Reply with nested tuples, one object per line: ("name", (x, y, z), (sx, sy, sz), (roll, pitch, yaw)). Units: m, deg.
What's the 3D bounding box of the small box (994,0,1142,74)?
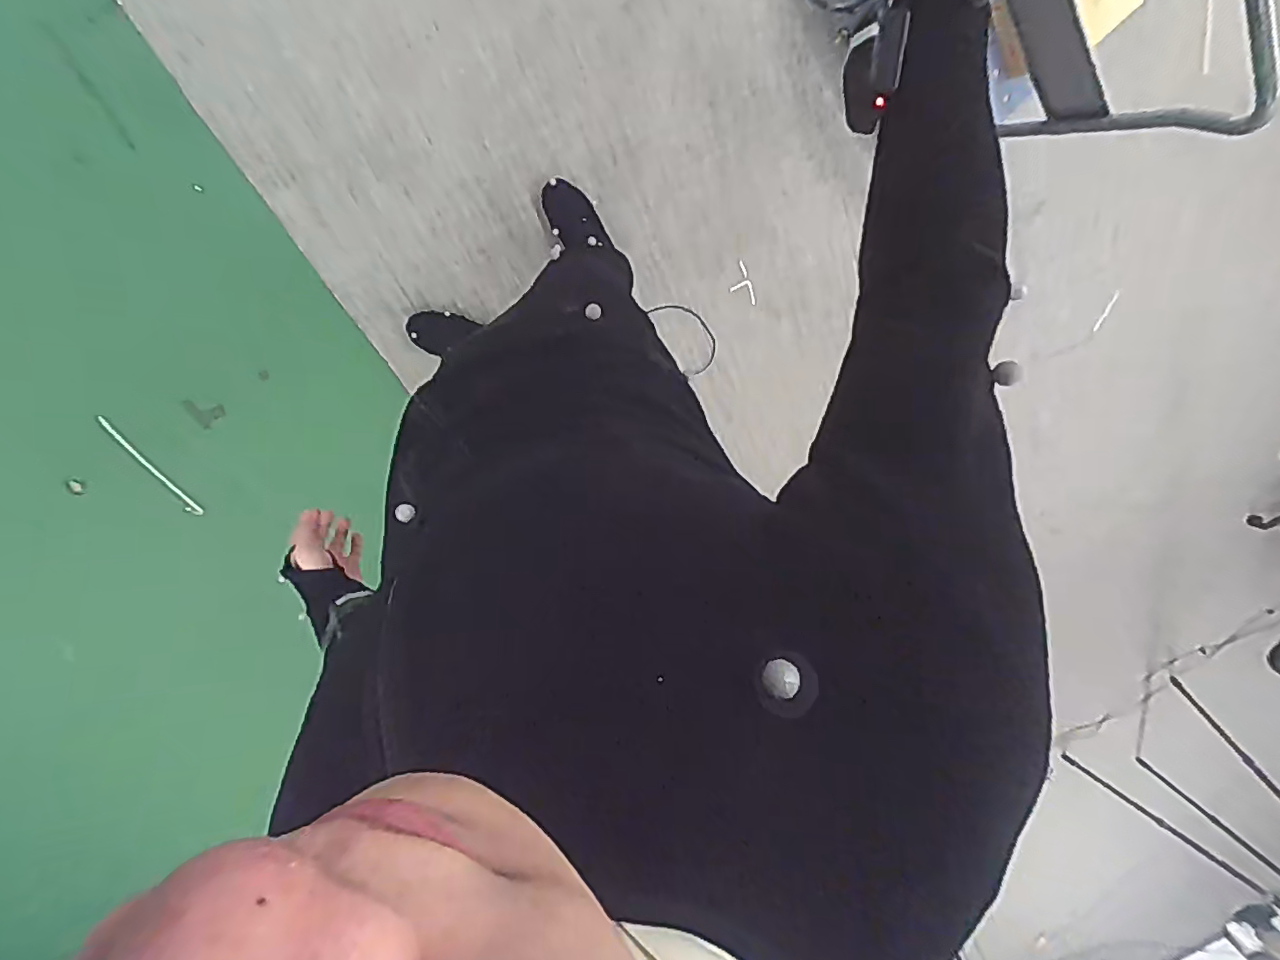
("small box", (0.934, -1.045, 1.188), (0.179, 0.176, 0.168), (-42, 119, 9))
